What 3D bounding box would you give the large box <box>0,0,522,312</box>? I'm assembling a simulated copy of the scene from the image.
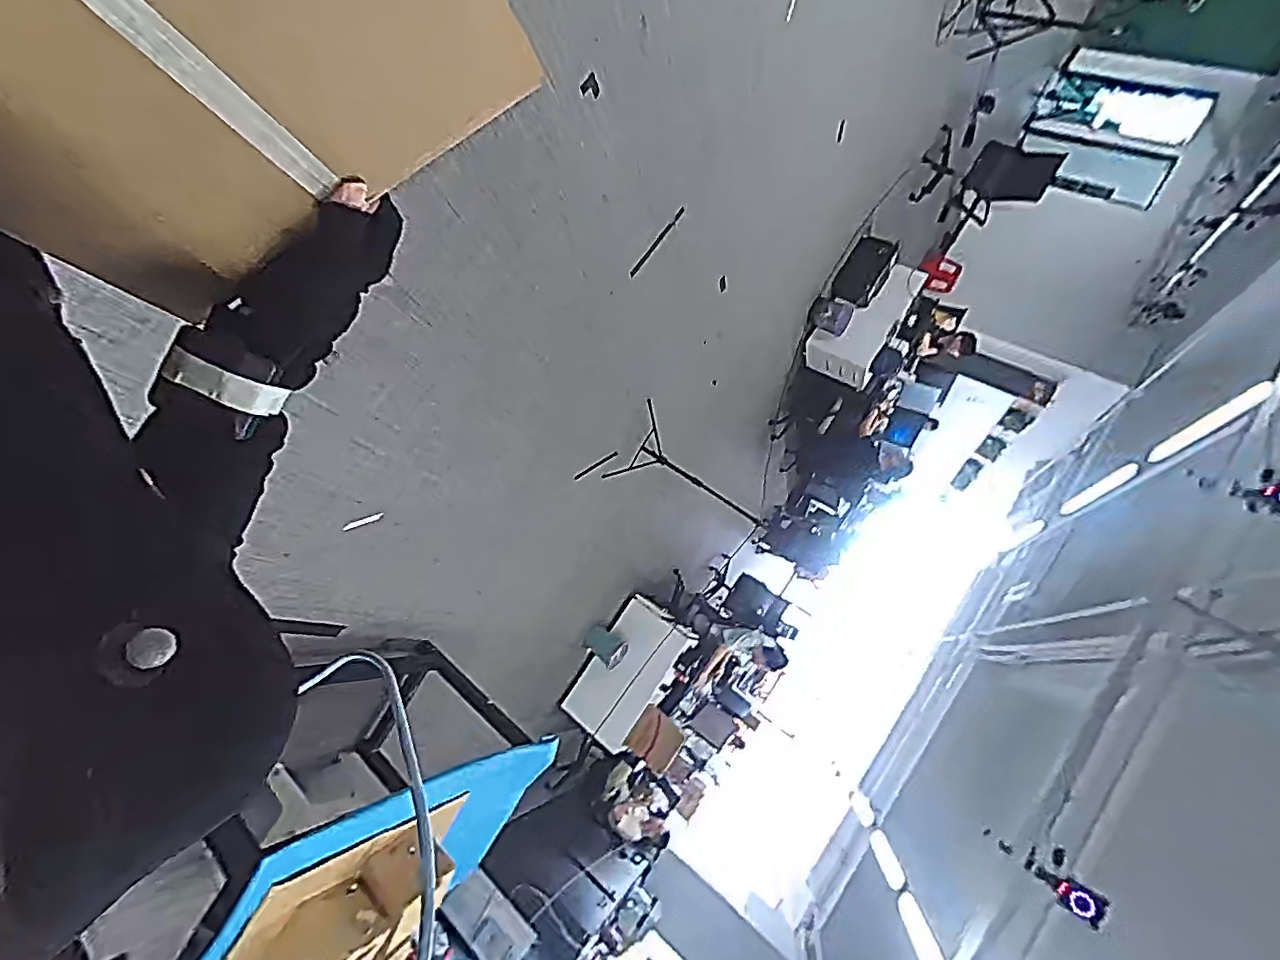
[{"bbox_3d":[-0.325,-0.370,0.262,0.320,0.320,0.408,-28,158,11],"label":"large box"}]
